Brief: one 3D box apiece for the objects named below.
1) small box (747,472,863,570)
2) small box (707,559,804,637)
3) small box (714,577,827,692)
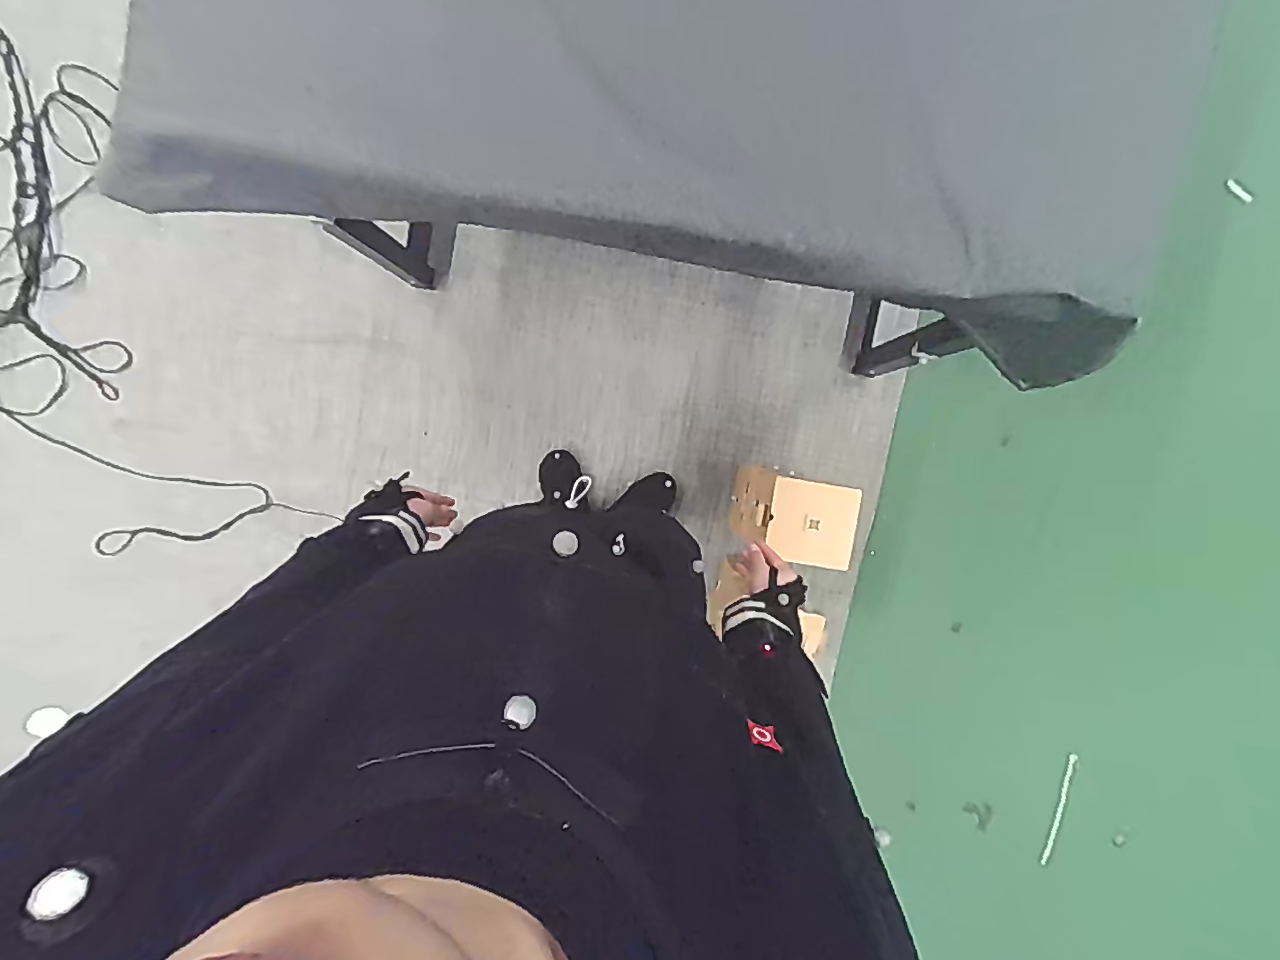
[{"bbox_3d":[0.336,0.078,1.133,0.179,0.176,0.168,9,94,0],"label":"small box"},{"bbox_3d":[0.273,0.301,1.315,0.179,0.176,0.168,15,93,1],"label":"small box"},{"bbox_3d":[0.268,0.319,1.151,0.179,0.176,0.168,15,93,1],"label":"small box"}]
